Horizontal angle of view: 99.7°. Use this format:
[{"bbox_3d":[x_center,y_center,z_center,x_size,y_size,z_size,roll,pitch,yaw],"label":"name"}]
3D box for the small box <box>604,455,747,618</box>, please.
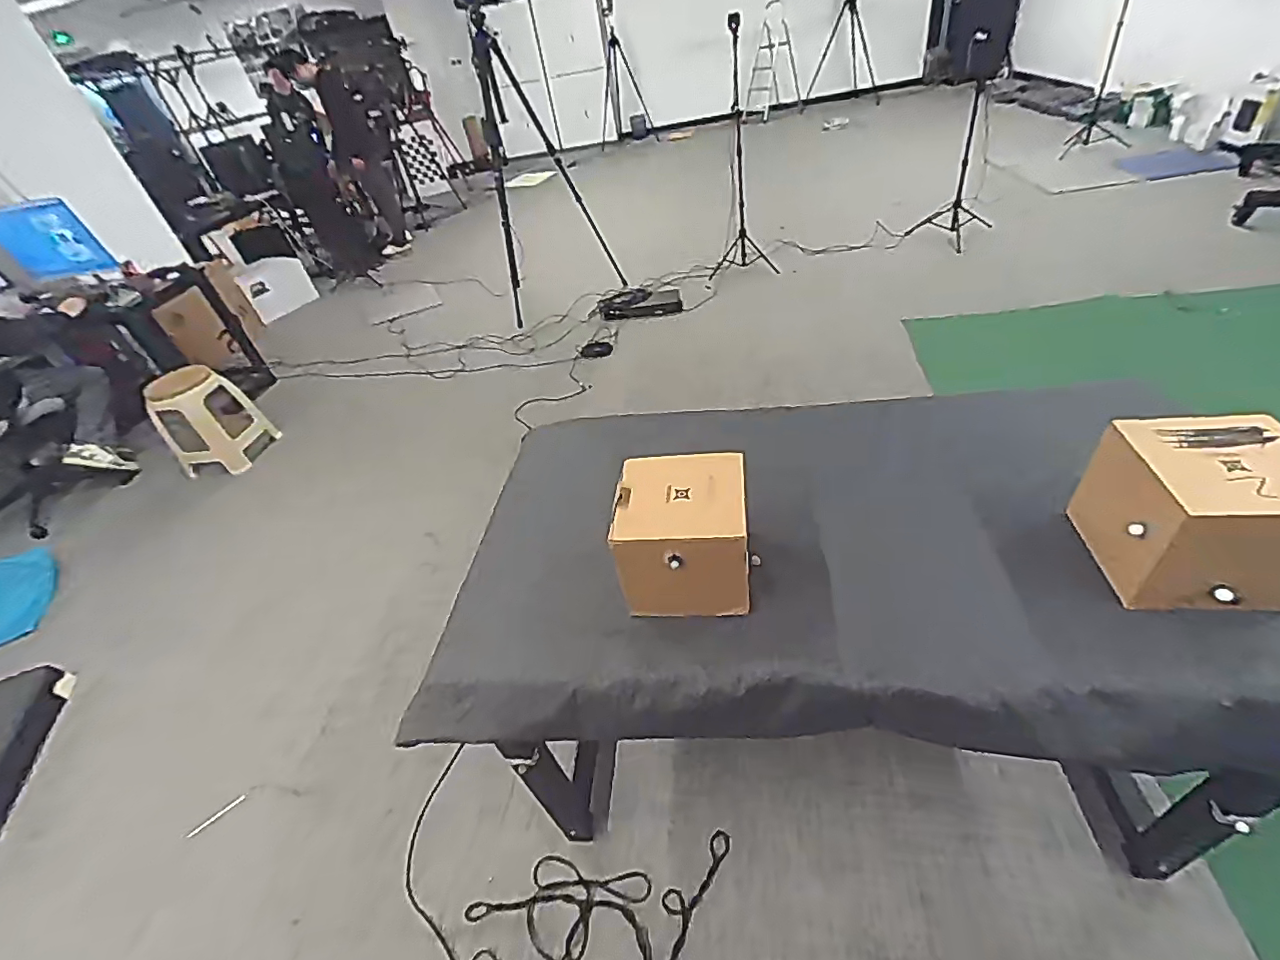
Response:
[{"bbox_3d":[0.060,0.082,0.773,0.179,0.176,0.168,-2,41,10],"label":"small box"}]
